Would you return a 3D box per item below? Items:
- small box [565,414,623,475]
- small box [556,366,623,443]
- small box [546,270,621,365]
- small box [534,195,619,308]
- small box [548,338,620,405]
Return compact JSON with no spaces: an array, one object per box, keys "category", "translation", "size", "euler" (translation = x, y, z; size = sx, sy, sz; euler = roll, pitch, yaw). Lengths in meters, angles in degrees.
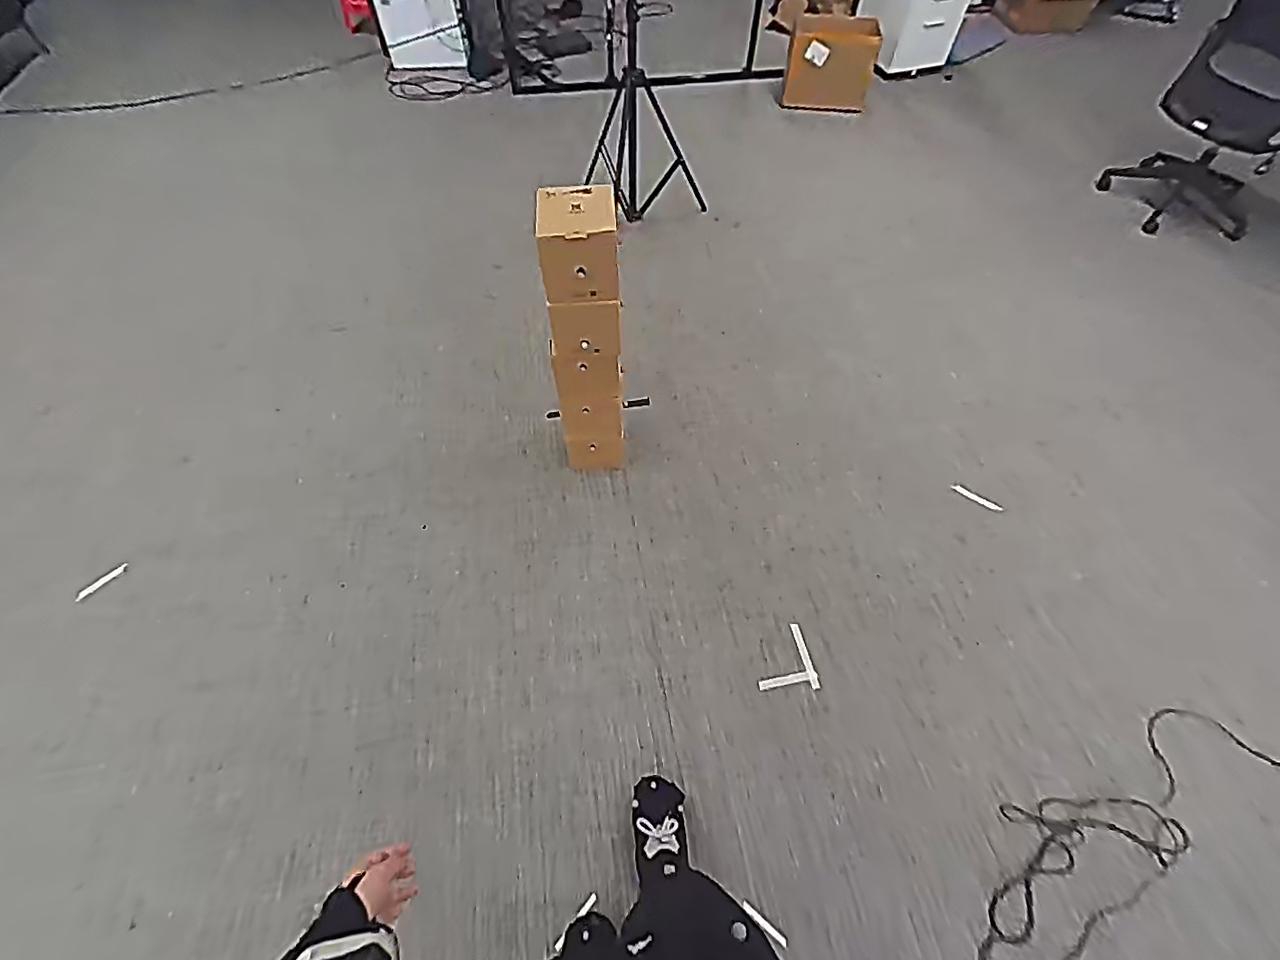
[{"category":"small box","translation":[-0.143,-0.127,1.740],"size":[0.179,0.176,0.168],"euler":[-2,57,-1]},{"category":"small box","translation":[-0.145,-0.223,1.607],"size":[0.179,0.176,0.168],"euler":[1,58,1]},{"category":"small box","translation":[-0.134,-0.405,1.336],"size":[0.168,0.176,0.179],"euler":[-2,59,0]},{"category":"small box","translation":[-0.136,-0.500,1.202],"size":[0.168,0.176,0.179],"euler":[-4,59,-2]},{"category":"small box","translation":[-0.147,-0.318,1.475],"size":[0.179,0.176,0.168],"euler":[-1,58,-1]}]
